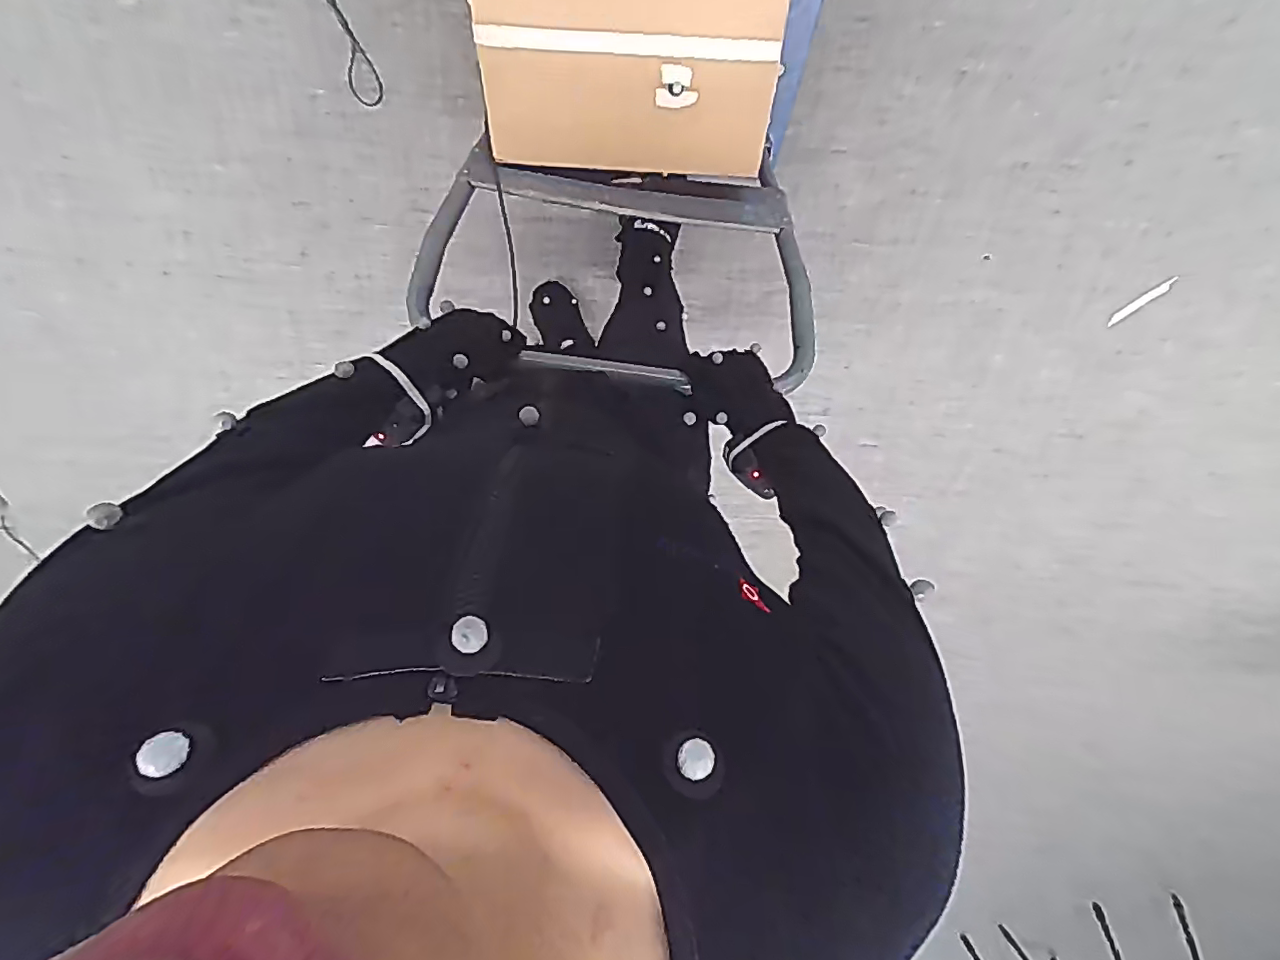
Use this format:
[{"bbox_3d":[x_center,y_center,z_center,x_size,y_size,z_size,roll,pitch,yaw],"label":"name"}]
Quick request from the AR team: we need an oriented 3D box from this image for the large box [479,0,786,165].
[{"bbox_3d":[-0.011,-0.705,0.821,0.408,0.320,0.320,2,139,-2],"label":"large box"}]
